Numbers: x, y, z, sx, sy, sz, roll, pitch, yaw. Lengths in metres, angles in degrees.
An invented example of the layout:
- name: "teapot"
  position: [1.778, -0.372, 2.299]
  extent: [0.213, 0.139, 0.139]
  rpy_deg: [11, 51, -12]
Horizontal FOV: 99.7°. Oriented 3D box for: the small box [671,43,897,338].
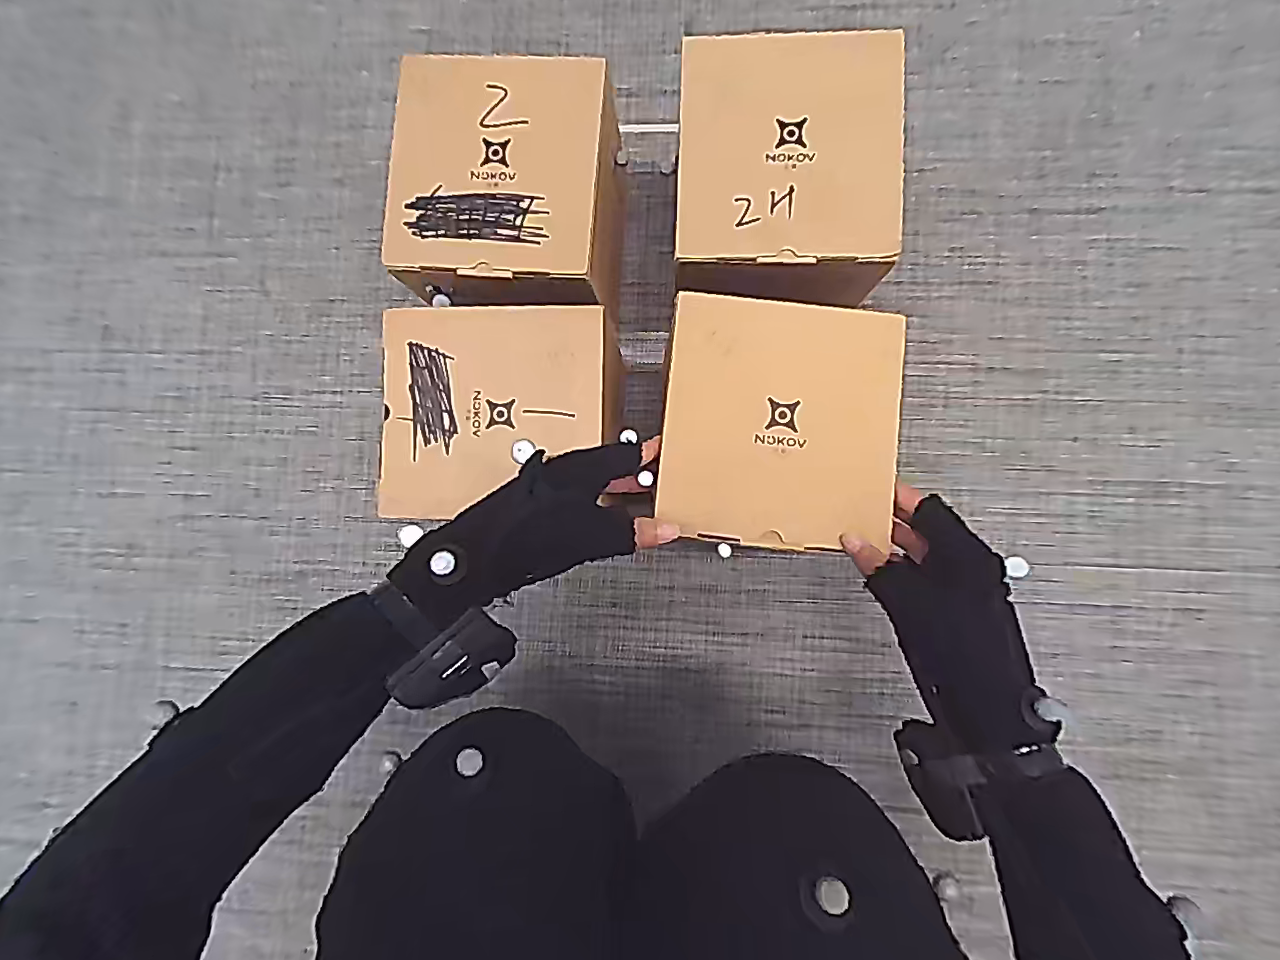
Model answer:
- name: "small box"
  position: [0.114, -0.242, 0.487]
  extent: [0.168, 0.176, 0.179]
  rpy_deg: [2, 87, 5]
